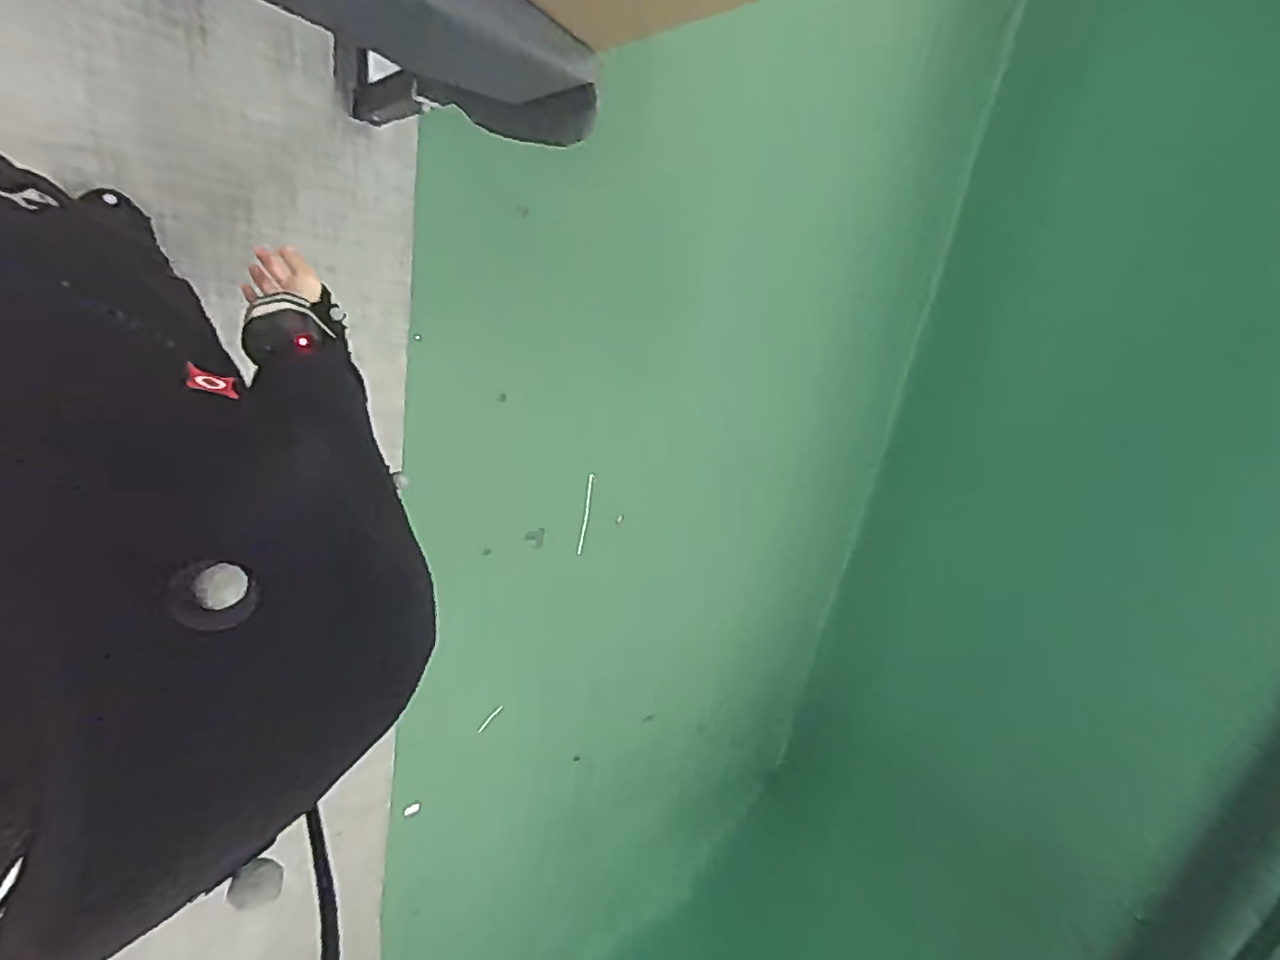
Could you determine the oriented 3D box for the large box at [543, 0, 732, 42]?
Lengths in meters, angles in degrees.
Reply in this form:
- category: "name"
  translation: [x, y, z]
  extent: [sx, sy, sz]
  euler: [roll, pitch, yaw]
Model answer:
- category: "large box"
  translation: [-0.049, -0.637, 0.402]
  extent: [0.408, 0.320, 0.320]
  euler: [1, 109, -47]
